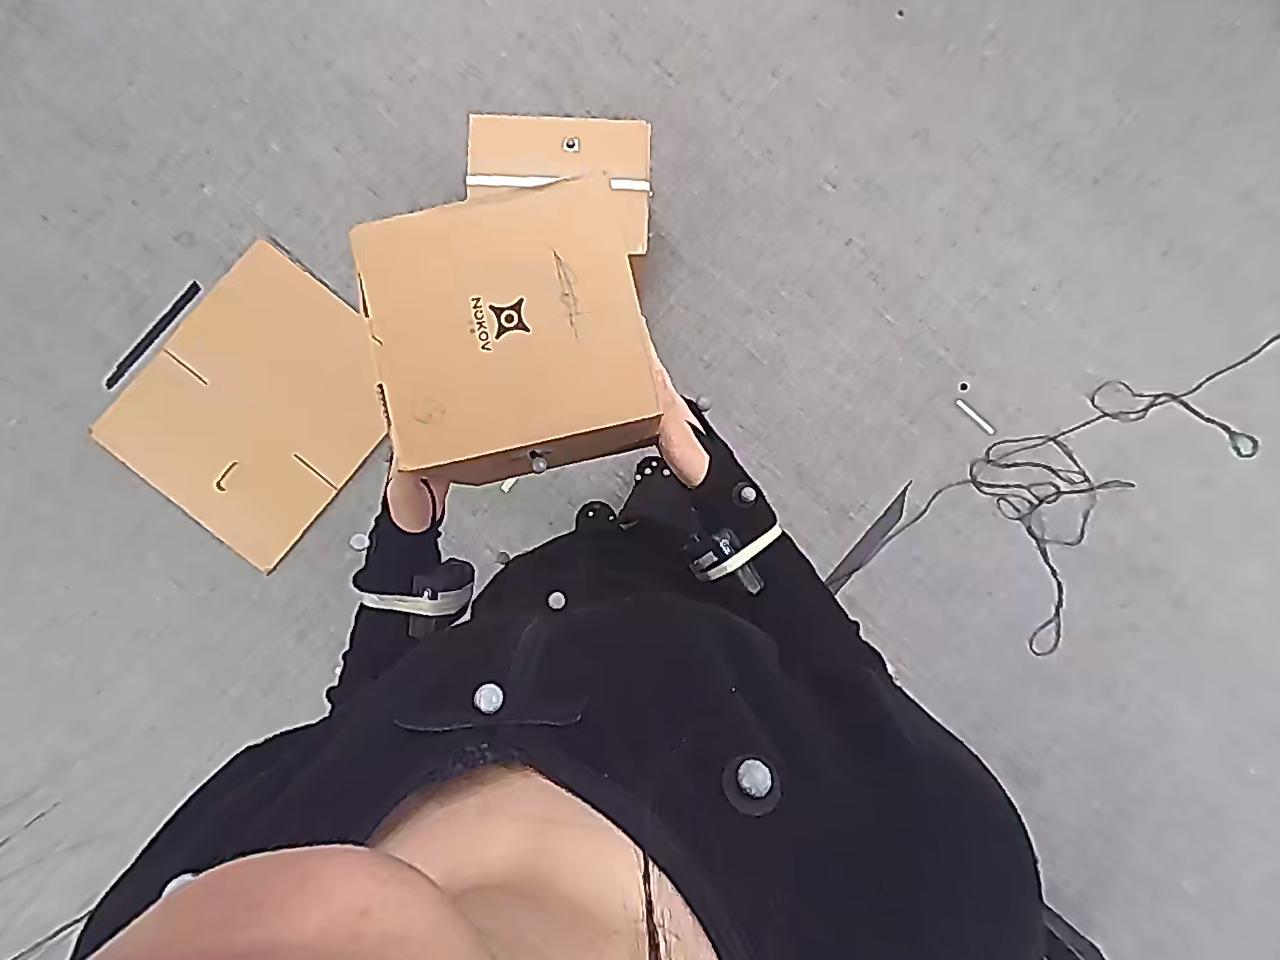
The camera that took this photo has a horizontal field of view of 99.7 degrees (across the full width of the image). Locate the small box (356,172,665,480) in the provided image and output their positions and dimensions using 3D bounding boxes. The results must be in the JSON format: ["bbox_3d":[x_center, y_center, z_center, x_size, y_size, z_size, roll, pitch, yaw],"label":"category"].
[{"bbox_3d":[-0.083,-0.099,0.426,0.179,0.176,0.168,-13,87,-1],"label":"small box"}]
